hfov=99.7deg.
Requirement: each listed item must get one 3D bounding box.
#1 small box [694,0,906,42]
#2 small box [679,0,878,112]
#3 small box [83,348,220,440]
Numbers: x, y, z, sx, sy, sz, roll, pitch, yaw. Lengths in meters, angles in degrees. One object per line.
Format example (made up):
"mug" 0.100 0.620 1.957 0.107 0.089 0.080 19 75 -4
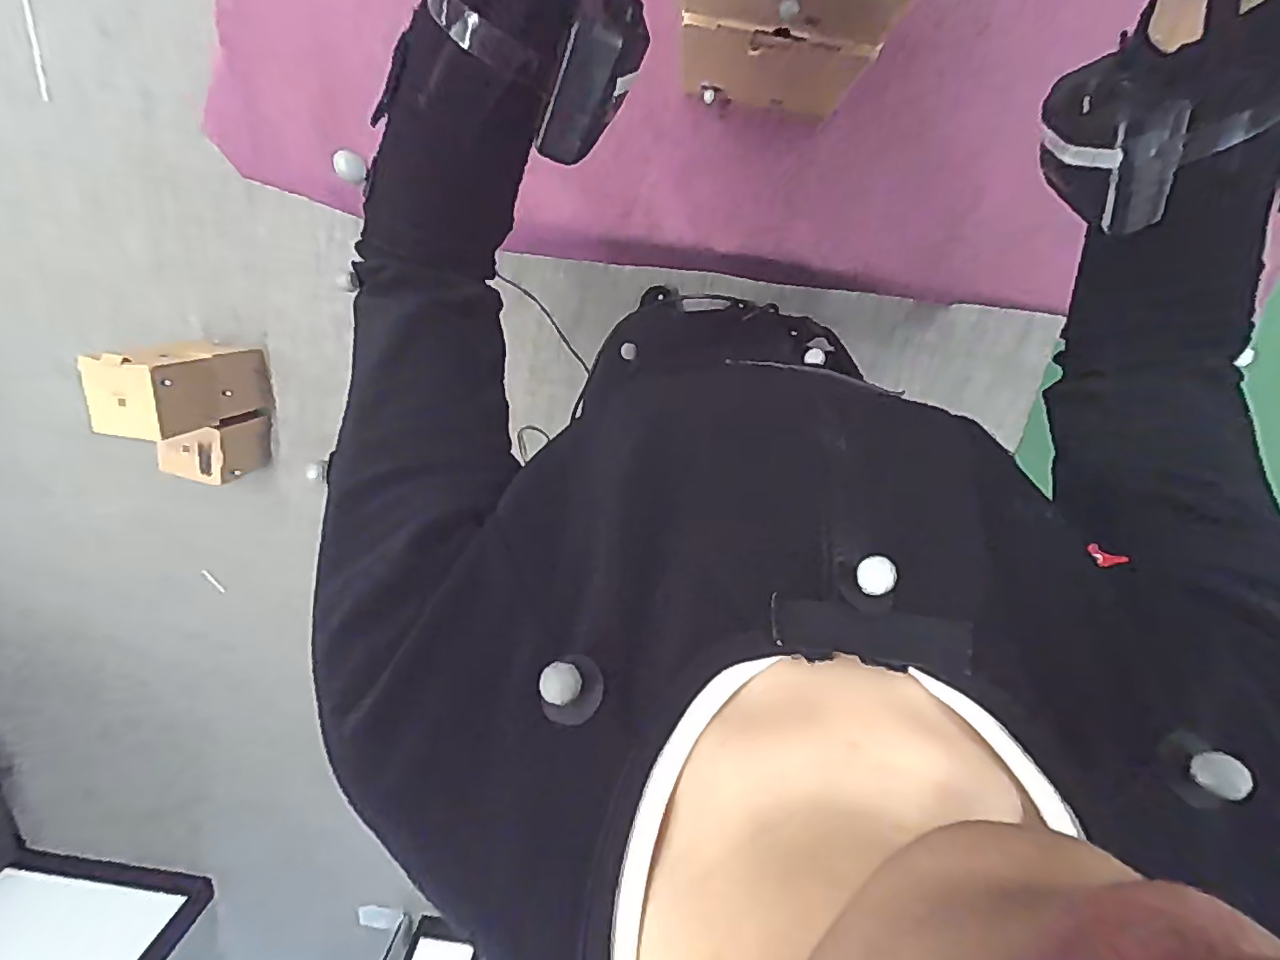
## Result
"small box" 0.121 -0.422 0.335 0.168 0.176 0.179 11 110 1
"small box" 0.135 -0.468 0.492 0.168 0.176 0.179 11 109 1
"small box" -1.148 -0.209 1.288 0.168 0.176 0.179 8 109 2
